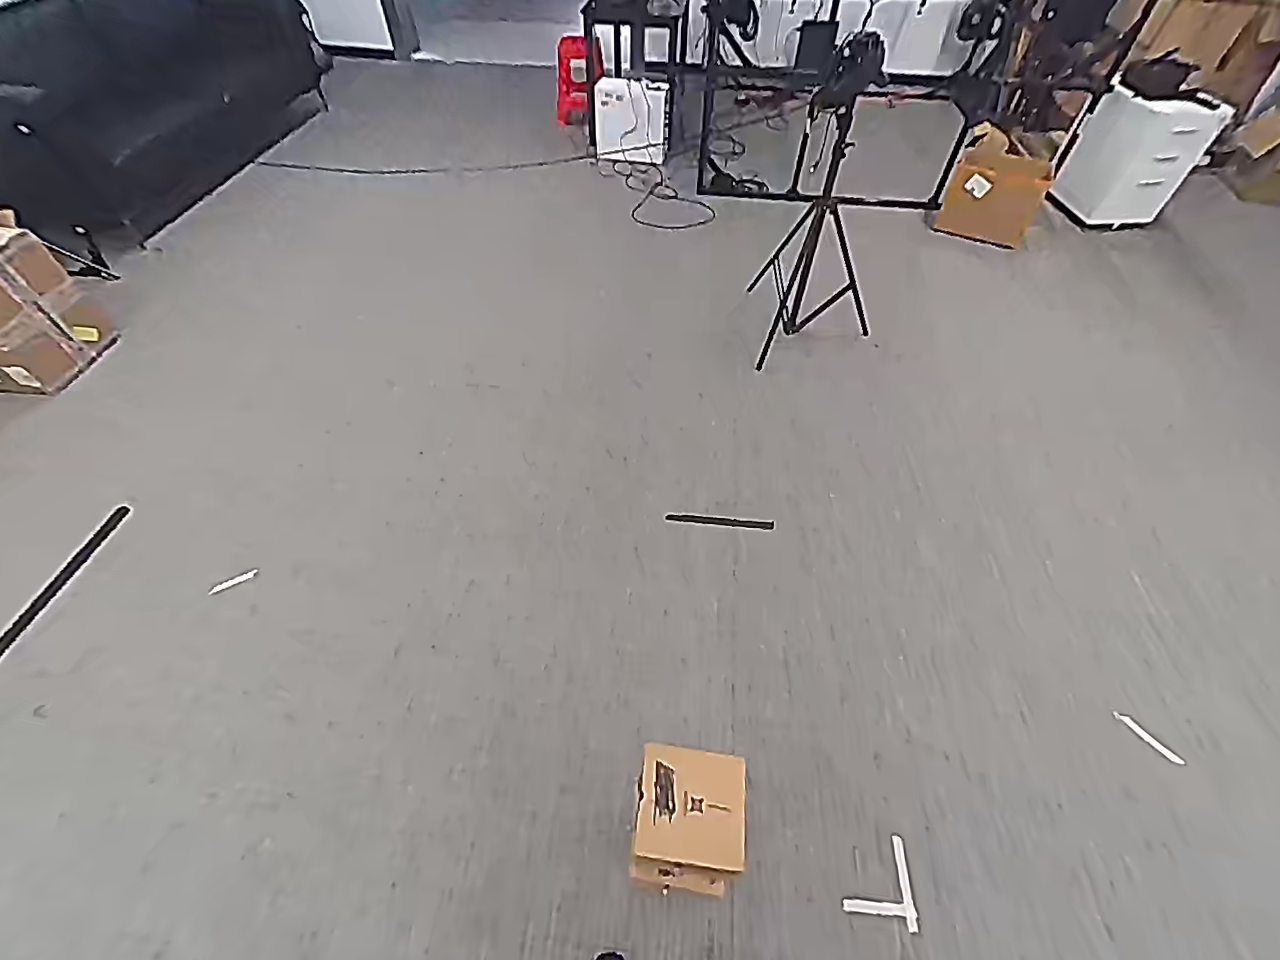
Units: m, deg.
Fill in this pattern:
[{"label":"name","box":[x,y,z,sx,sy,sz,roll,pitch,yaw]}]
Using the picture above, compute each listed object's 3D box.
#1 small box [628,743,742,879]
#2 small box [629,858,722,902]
[{"label":"small box","box":[0.077,0.580,0.944,0.179,0.176,0.168,7,51,4]},{"label":"small box","box":[0.073,0.700,1.060,0.168,0.176,0.179,9,50,6]}]
